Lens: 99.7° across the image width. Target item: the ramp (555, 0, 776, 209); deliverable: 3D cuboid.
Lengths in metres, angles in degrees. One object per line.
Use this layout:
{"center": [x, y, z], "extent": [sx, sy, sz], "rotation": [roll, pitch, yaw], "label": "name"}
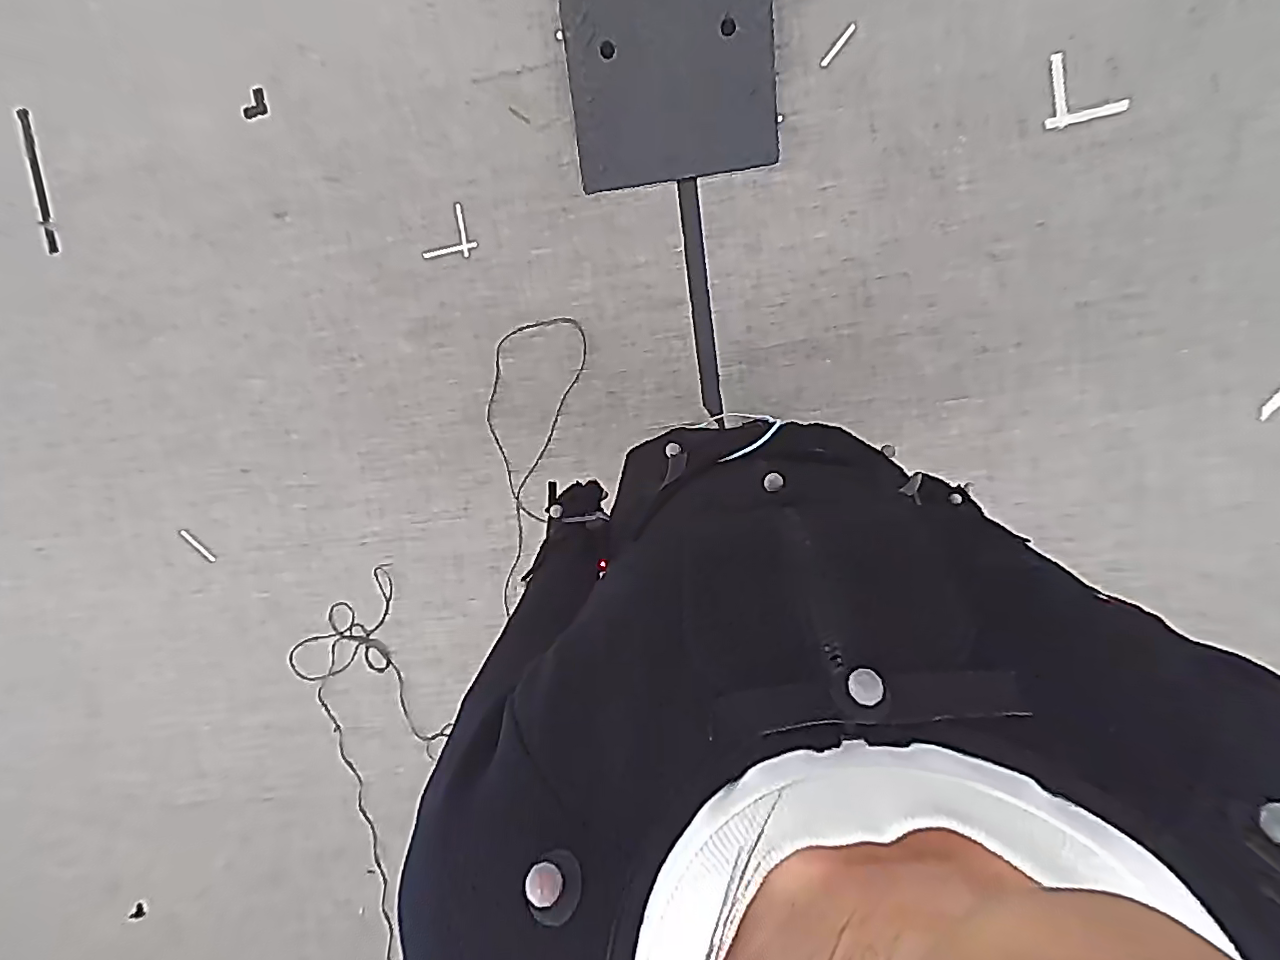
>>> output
{"center": [0.033, -1.210, 1.252], "extent": [0.509, 0.206, 0.991], "rotation": [-8, 95, 7], "label": "ramp"}
